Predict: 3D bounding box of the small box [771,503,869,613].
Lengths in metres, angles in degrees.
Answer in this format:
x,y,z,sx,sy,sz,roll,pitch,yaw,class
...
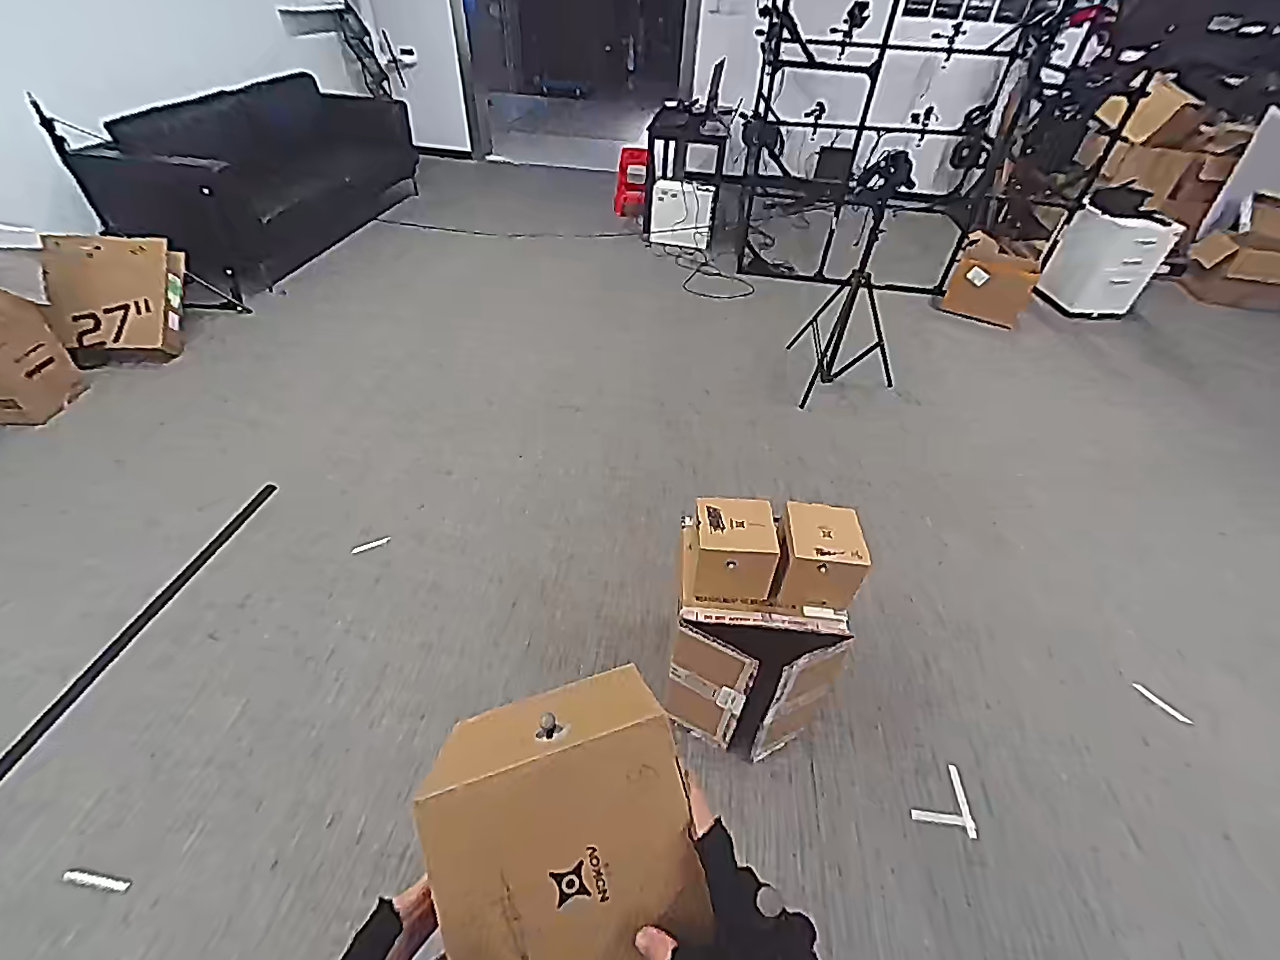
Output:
x,y,z,sx,sy,sz,roll,pitch,yaw,class
0.406,0.182,1.261,0.168,0.176,0.179,7,41,1,small box

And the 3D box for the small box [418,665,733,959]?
x,y,z,sx,sy,sz,roll,pitch,yaw,class
-0.052,0.266,0.434,0.179,0.176,0.168,-16,85,-10,small box

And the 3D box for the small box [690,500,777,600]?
x,y,z,sx,sy,sz,roll,pitch,yaw,class
0.208,0.165,1.263,0.179,0.176,0.168,3,41,0,small box
